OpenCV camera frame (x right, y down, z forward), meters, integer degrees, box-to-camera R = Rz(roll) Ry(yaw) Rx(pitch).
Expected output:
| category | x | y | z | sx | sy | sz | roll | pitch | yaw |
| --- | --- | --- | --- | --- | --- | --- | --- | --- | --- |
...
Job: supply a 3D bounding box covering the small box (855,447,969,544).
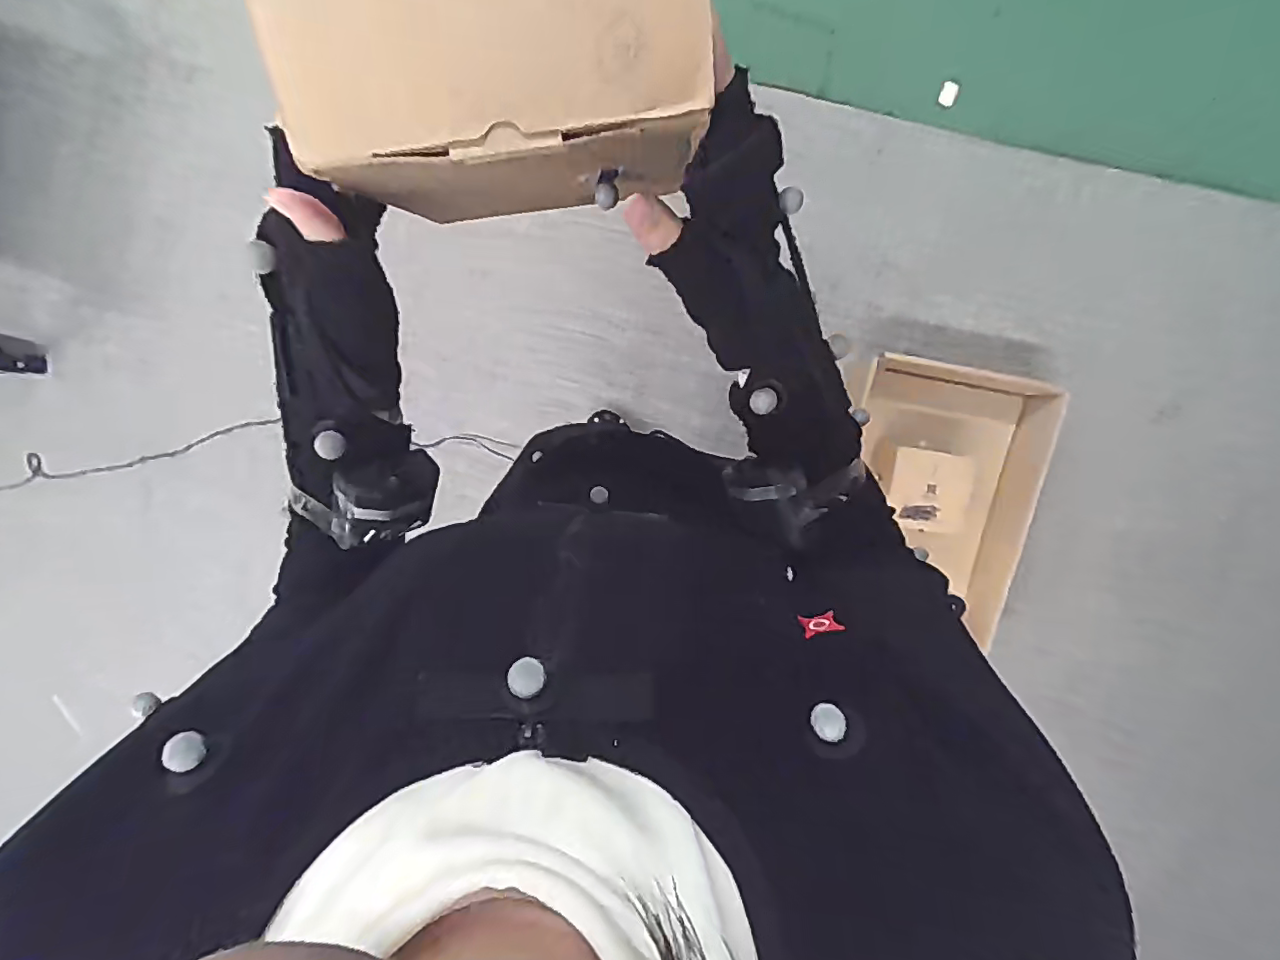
| category | x | y | z | sx | sy | sz | roll | pitch | yaw |
| --- | --- | --- | --- | --- | --- | --- | --- | --- | --- |
| small box | 0.604 | 0.028 | 1.226 | 0.168 | 0.176 | 0.179 | 11 | 97 | 5 |
